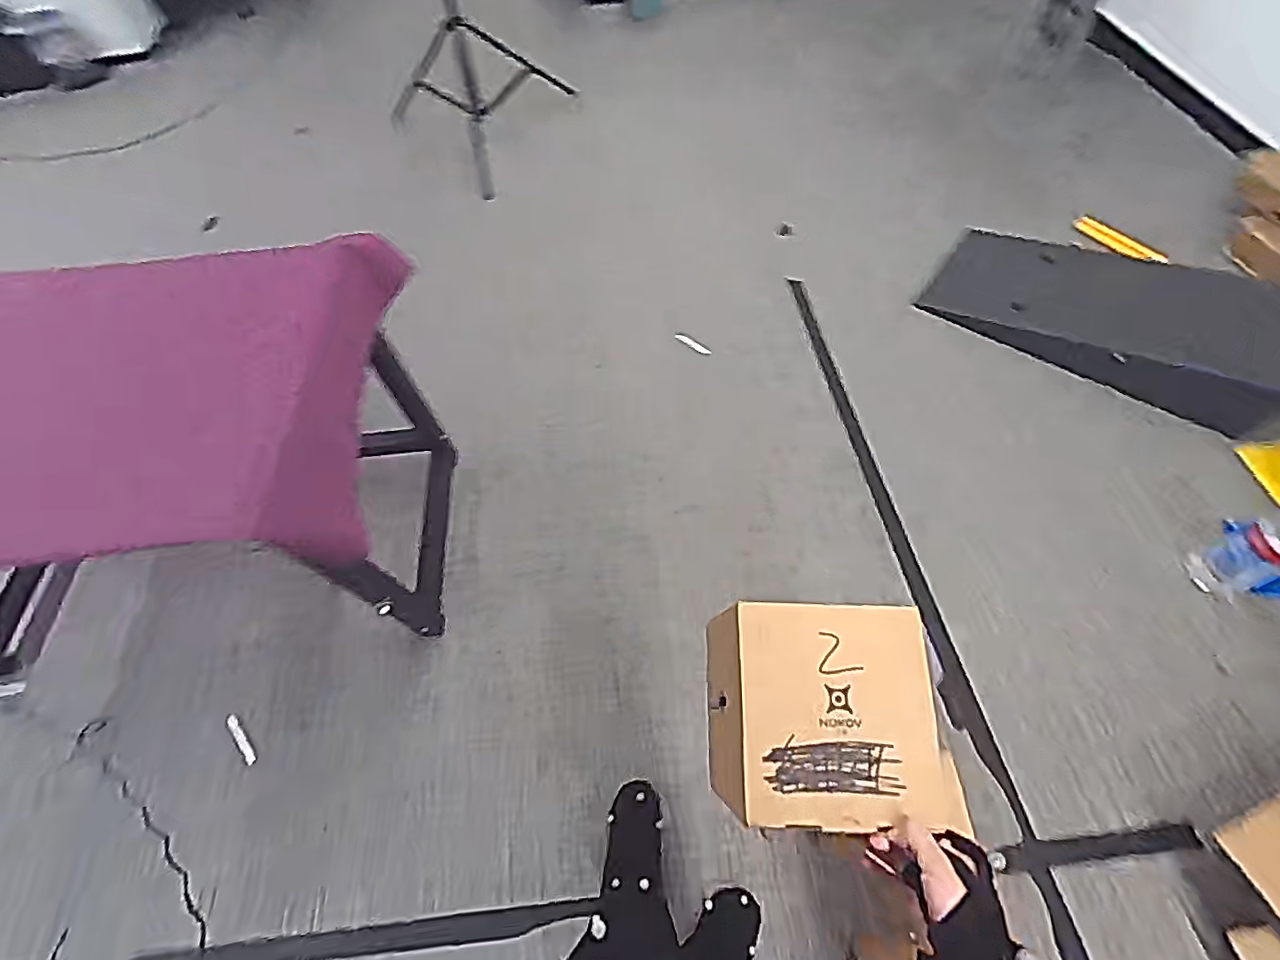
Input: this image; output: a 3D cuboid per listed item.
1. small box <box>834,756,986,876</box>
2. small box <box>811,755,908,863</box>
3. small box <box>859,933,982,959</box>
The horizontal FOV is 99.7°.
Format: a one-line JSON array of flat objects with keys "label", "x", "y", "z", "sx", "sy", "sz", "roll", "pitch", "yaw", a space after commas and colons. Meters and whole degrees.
[{"label": "small box", "x": 0.453, "y": 0.582, "z": 0.948, "sx": 0.179, "sy": 0.176, "sz": 0.168, "roll": -3, "pitch": 62, "yaw": 1}, {"label": "small box", "x": 0.454, "y": 0.660, "z": 1.090, "sx": 0.168, "sy": 0.176, "sz": 0.179, "roll": -2, "pitch": 60, "yaw": 2}, {"label": "small box", "x": 0.500, "y": 0.918, "z": 0.938, "sx": 0.179, "sy": 0.176, "sz": 0.168, "roll": -7, "pitch": 61, "yaw": -1}]
